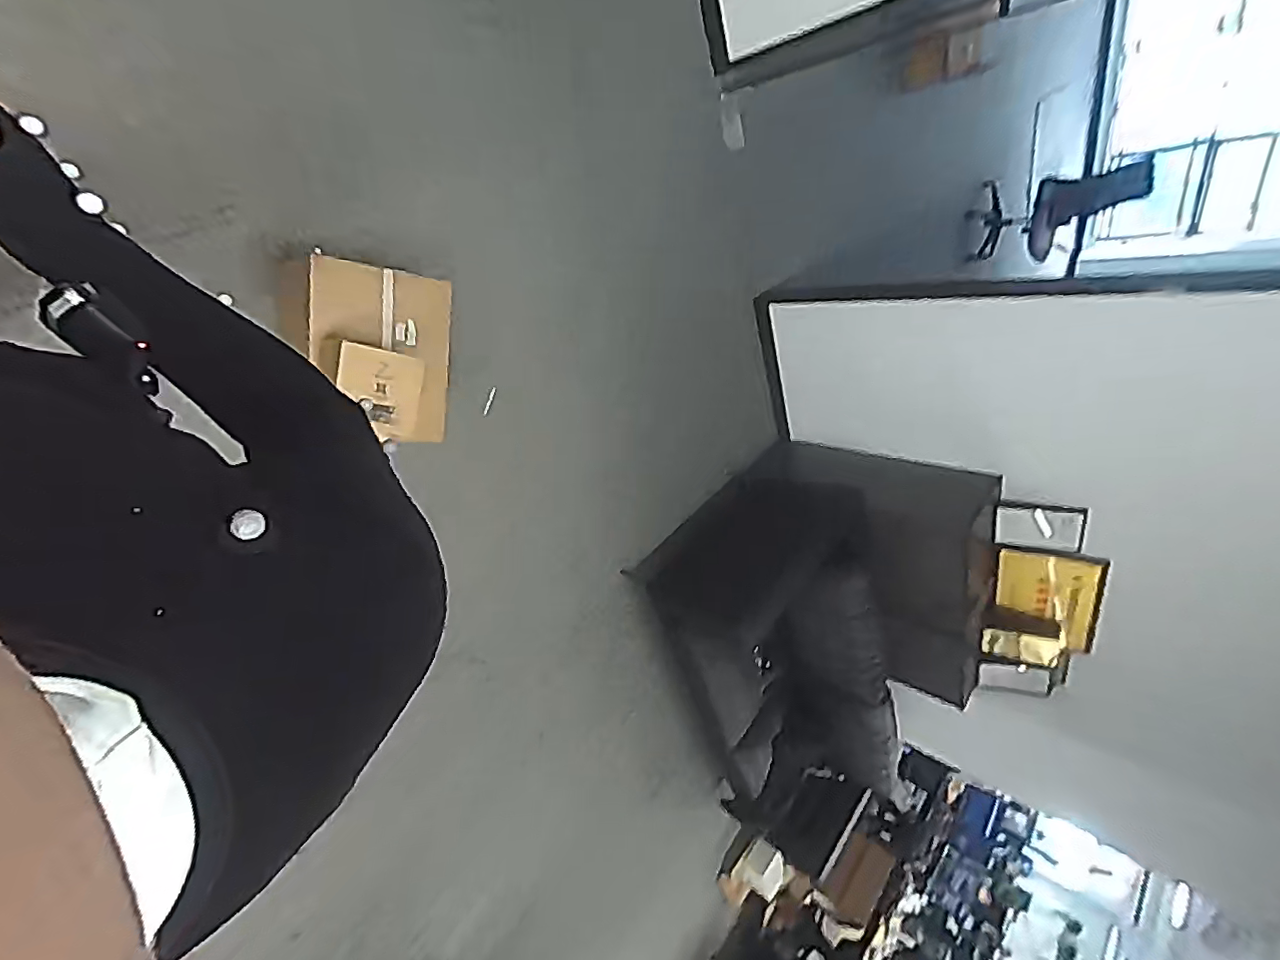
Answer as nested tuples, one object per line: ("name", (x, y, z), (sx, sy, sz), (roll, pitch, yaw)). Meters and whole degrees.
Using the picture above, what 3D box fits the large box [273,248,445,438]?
("large box", (-0.710, -0.325, 1.361), (0.320, 0.320, 0.408), (-4, 105, -46))
